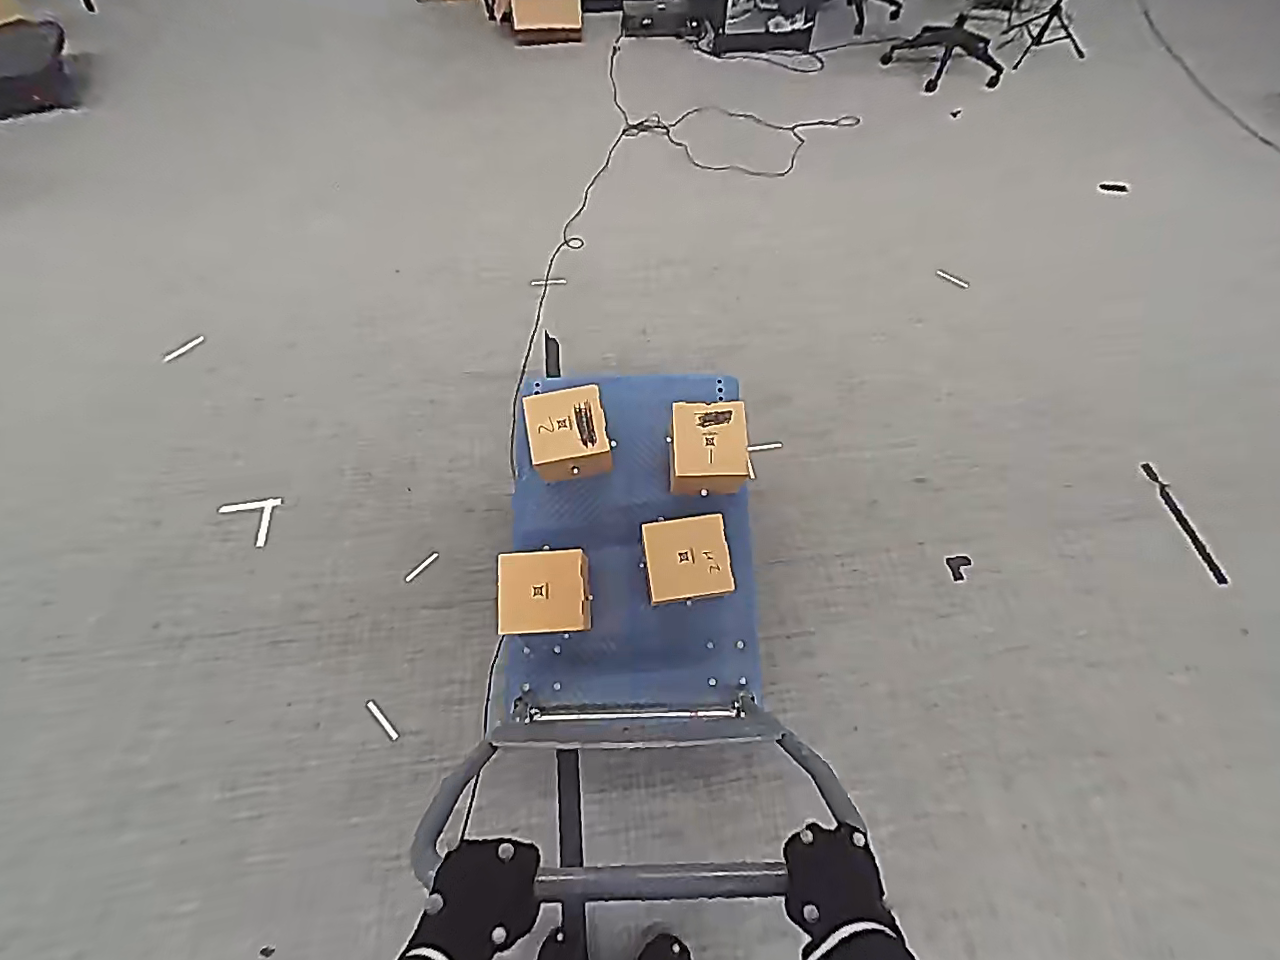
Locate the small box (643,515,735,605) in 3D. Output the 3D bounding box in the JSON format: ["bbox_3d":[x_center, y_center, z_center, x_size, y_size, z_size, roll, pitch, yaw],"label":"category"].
[{"bbox_3d":[0.103,0.184,1.207,0.179,0.176,0.168,-7,75,-2],"label":"small box"}]

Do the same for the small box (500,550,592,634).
[{"bbox_3d":[-0.202,0.251,1.191,0.179,0.176,0.168,-3,74,-2],"label":"small box"}]

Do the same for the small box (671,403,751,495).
[{"bbox_3d":[0.162,-0.069,1.279,0.168,0.176,0.179,-1,75,0],"label":"small box"}]
